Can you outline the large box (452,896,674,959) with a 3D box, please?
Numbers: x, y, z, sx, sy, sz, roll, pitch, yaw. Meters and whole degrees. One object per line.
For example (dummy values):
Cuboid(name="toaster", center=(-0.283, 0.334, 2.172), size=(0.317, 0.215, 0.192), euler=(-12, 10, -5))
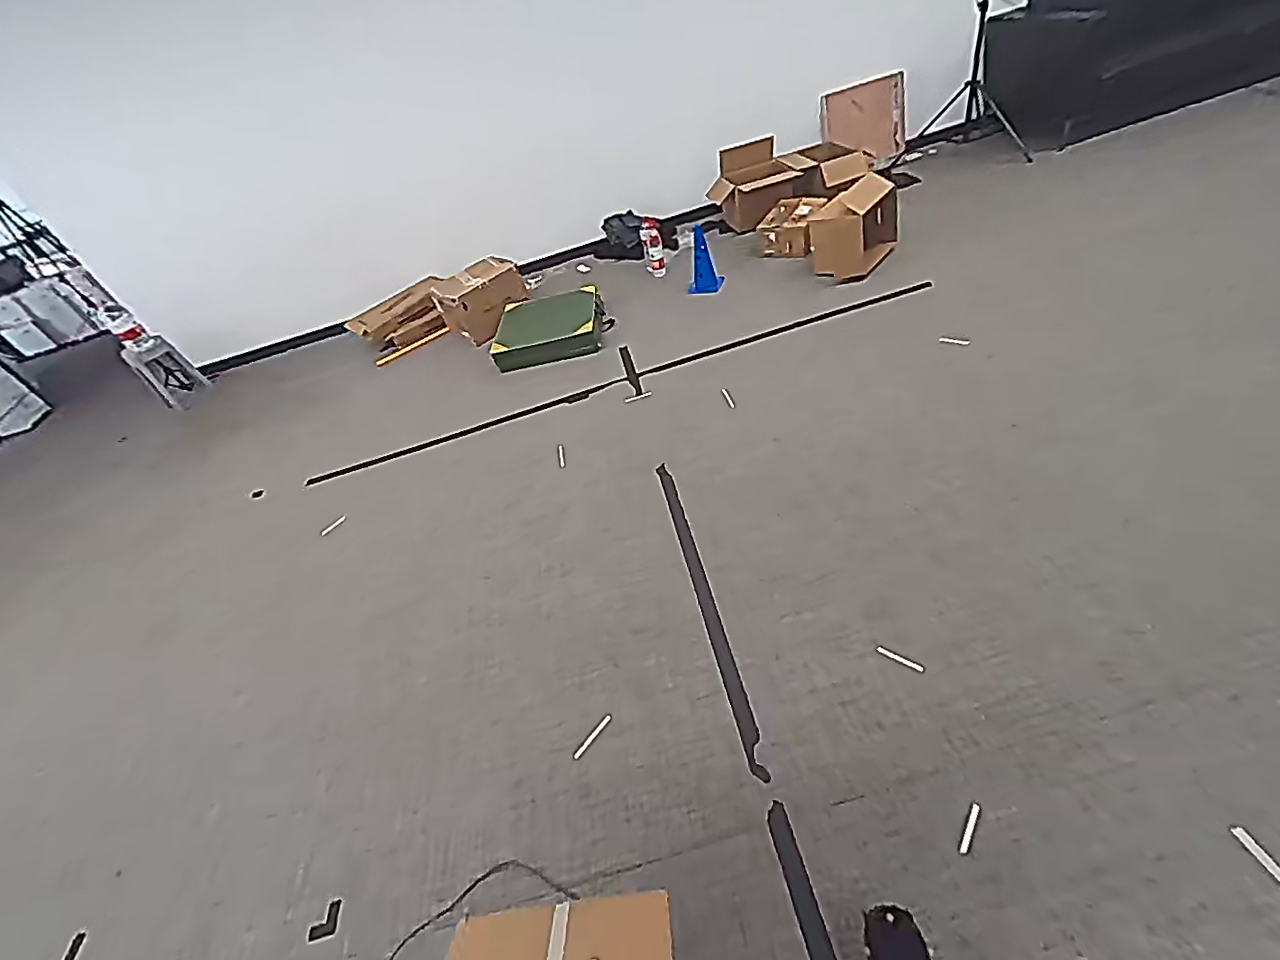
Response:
Cuboid(name="large box", center=(-0.090, 0.803, 0.622), size=(0.320, 0.320, 0.408), euler=(-7, 2, 0))
